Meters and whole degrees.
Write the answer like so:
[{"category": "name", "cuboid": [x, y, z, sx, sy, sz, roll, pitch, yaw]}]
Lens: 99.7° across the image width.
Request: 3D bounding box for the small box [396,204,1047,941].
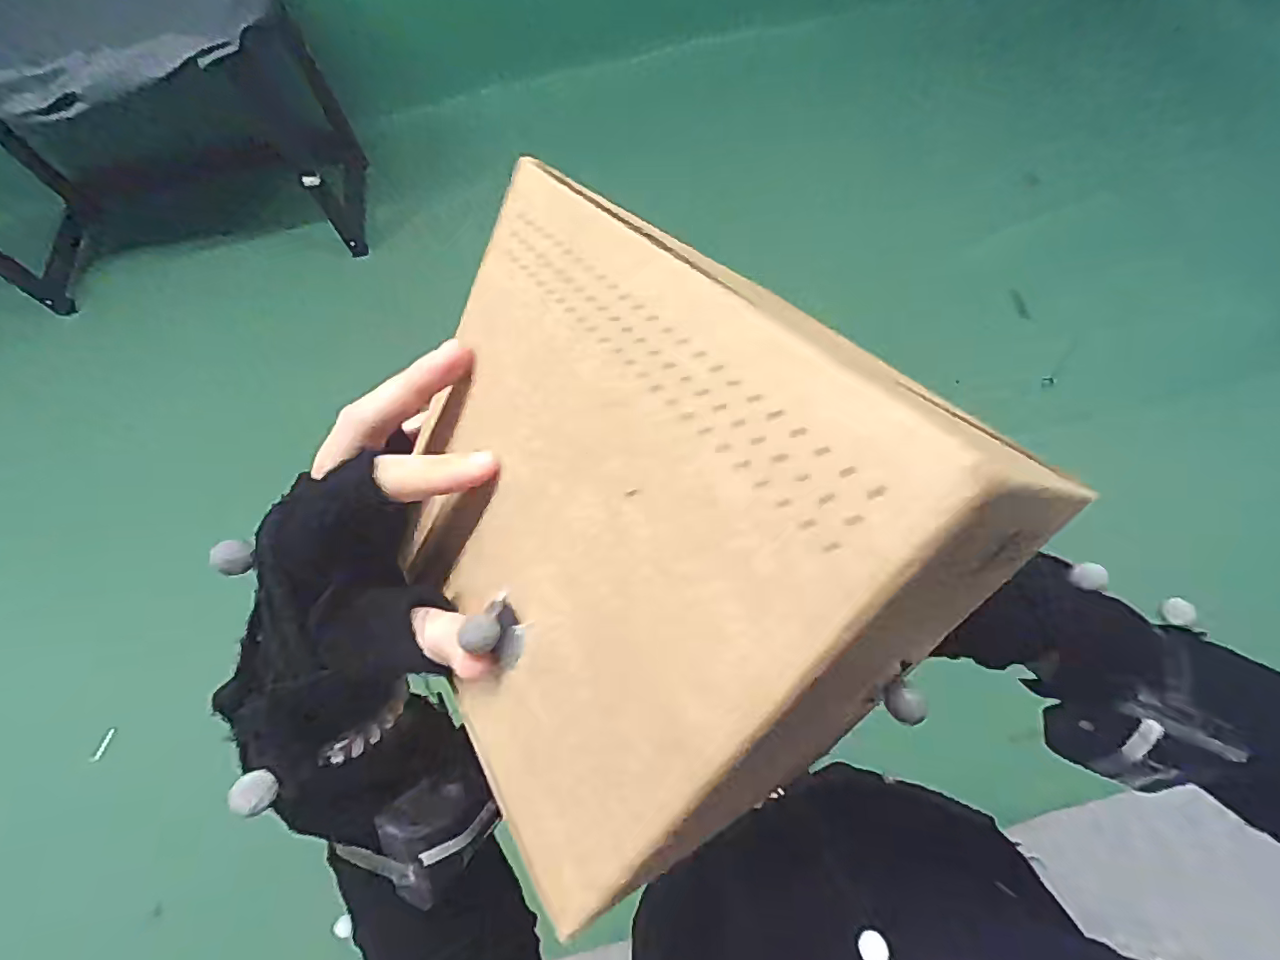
[{"category": "small box", "cuboid": [0.029, 0.017, 0.225, 0.179, 0.168, 0.176, 47, 117, 34]}]
